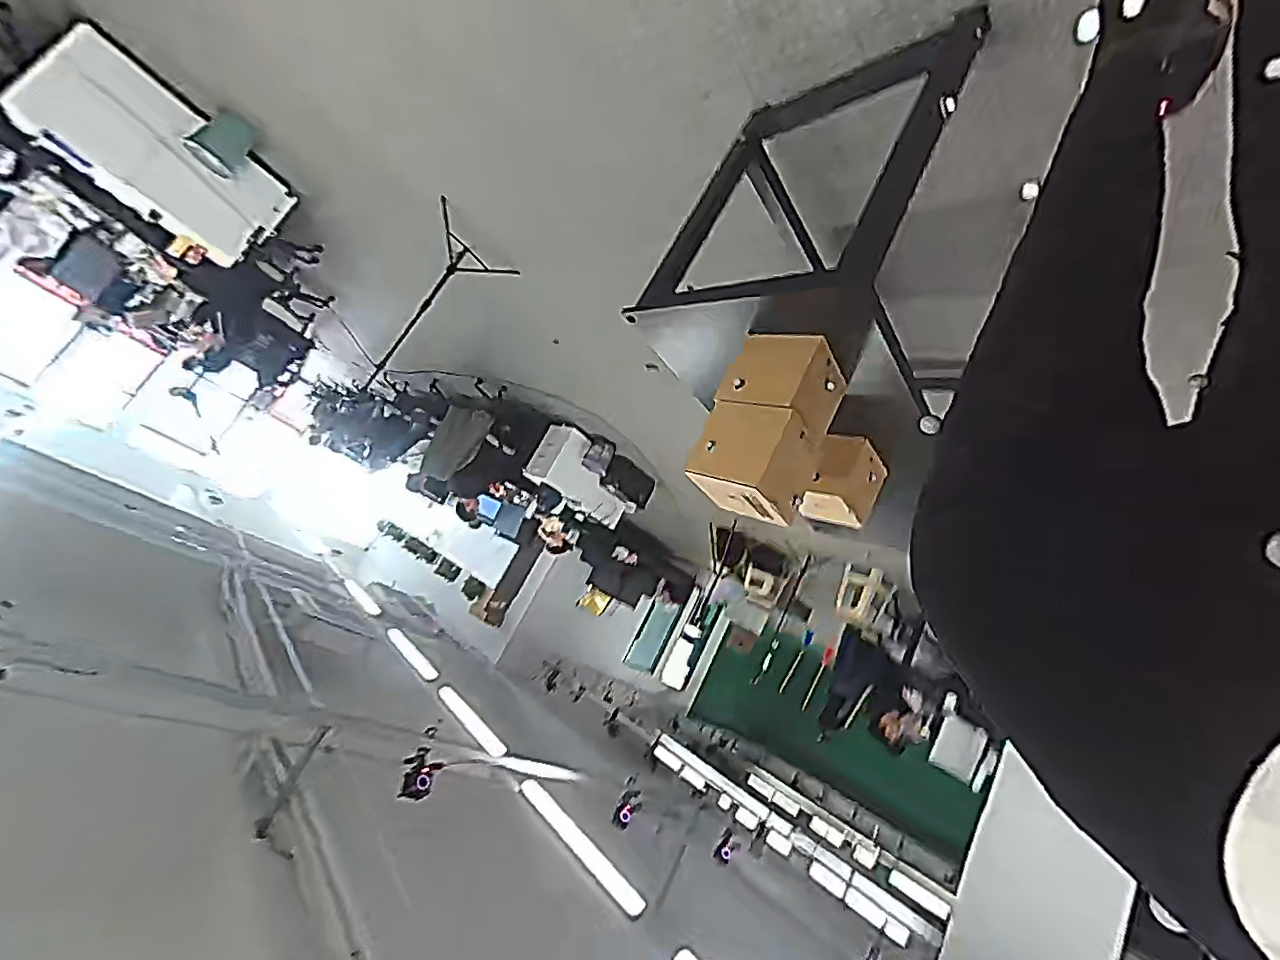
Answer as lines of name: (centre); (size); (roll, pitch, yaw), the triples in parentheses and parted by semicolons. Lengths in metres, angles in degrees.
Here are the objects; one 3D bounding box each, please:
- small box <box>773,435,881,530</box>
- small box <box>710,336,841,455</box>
small box: (0.474, 0.000, 1.366); (0.179, 0.176, 0.168); (13, 159, 48)
small box: (0.279, -0.177, 1.103); (0.179, 0.176, 0.168); (16, 162, 43)
